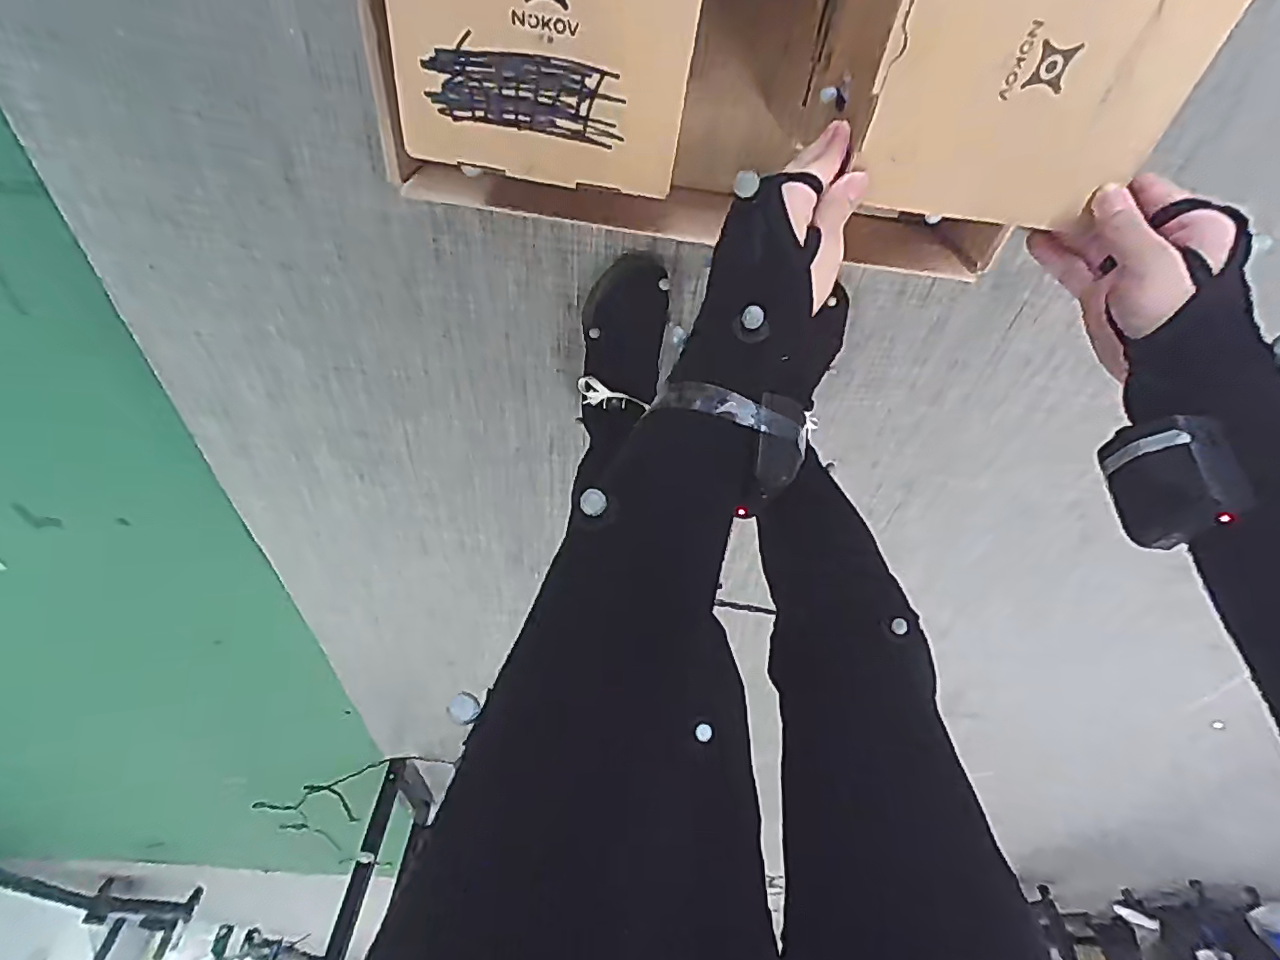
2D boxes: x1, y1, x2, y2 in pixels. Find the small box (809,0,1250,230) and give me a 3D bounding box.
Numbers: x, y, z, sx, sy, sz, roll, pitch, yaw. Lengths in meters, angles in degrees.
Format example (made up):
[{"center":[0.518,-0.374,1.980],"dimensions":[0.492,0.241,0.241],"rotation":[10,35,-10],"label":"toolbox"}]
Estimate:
[{"center":[0.227,-0.287,0.355],"dimensions":[0.179,0.176,0.168],"rotation":[6,134,-2],"label":"small box"}]
